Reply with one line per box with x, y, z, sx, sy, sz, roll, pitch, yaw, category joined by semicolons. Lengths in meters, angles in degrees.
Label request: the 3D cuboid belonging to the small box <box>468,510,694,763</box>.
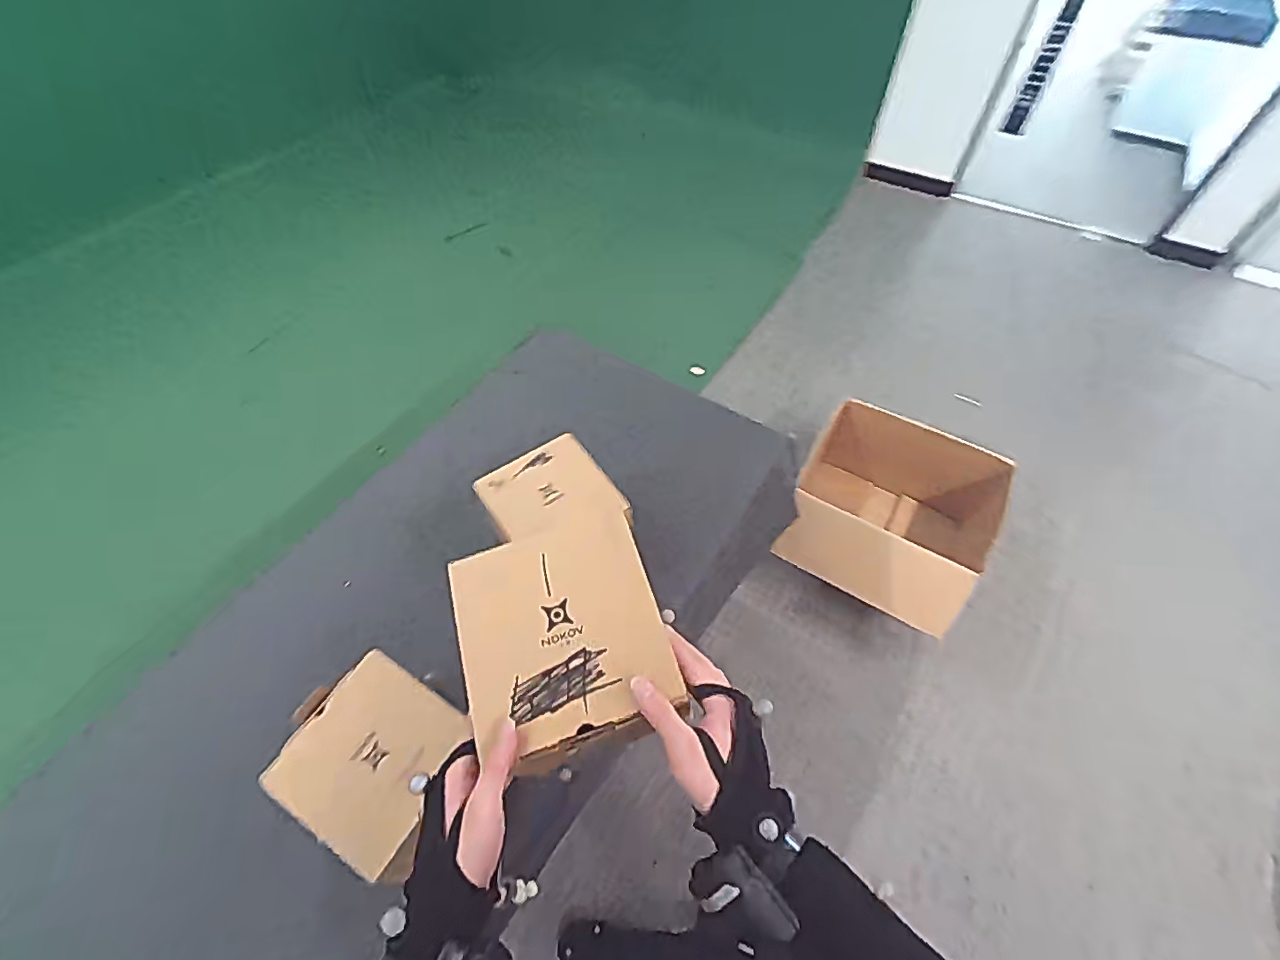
-0.049;0.161;0.531;0.168;0.176;0.179;-18;59;-4;small box

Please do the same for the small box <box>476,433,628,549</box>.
-0.128;0.066;0.847;0.168;0.176;0.179;-30;61;-19;small box

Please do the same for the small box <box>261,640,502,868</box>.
-0.286;0.329;0.646;0.179;0.176;0.168;26;59;17;small box
